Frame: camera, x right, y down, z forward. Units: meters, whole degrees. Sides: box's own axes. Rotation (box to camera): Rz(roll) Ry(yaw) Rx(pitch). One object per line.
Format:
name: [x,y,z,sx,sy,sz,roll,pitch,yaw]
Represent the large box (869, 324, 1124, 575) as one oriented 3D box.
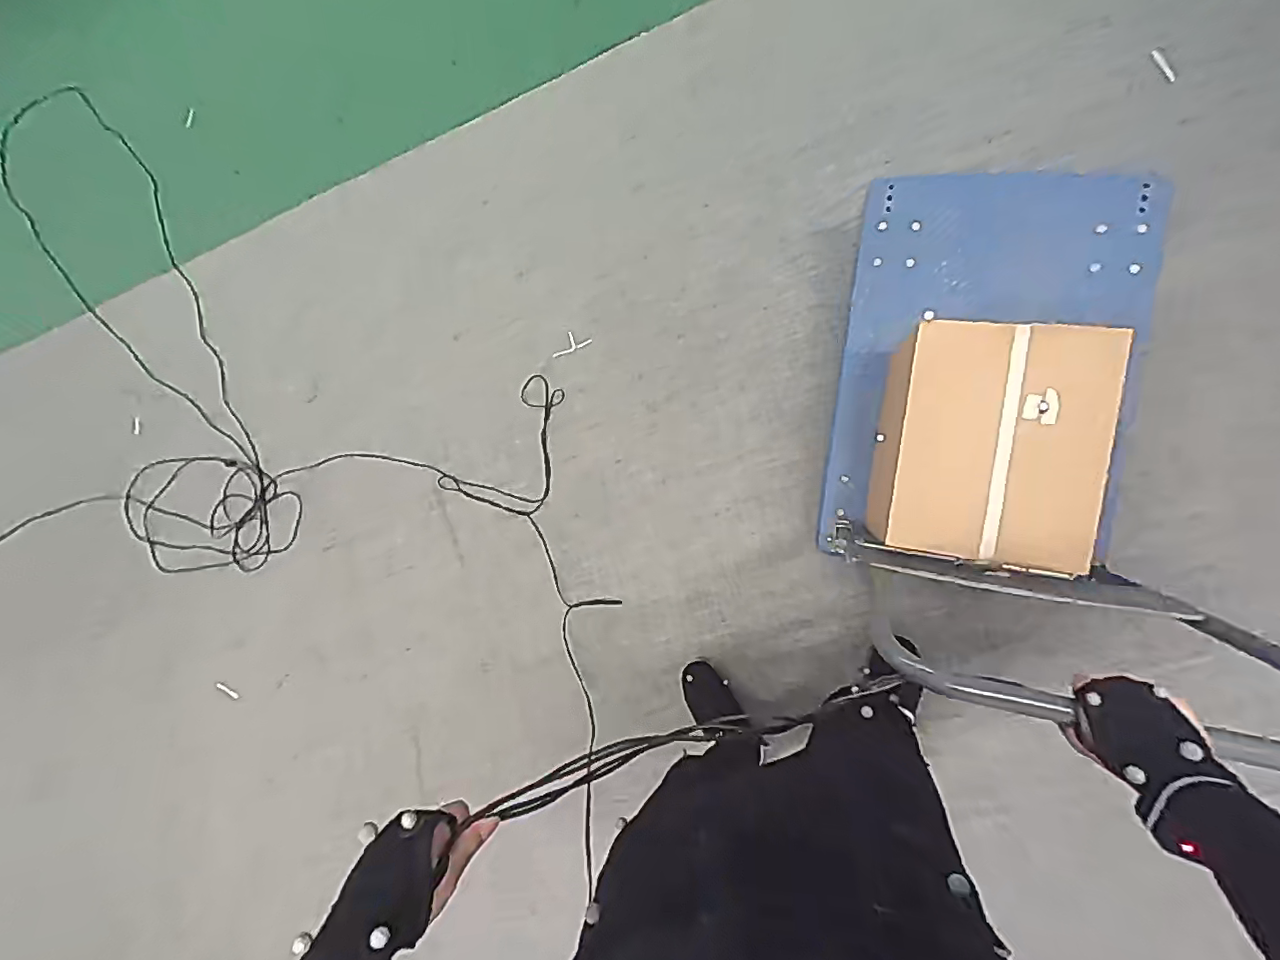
large box: [0.652,-0.058,1.061,0.320,0.320,0.408,9,93,15]
